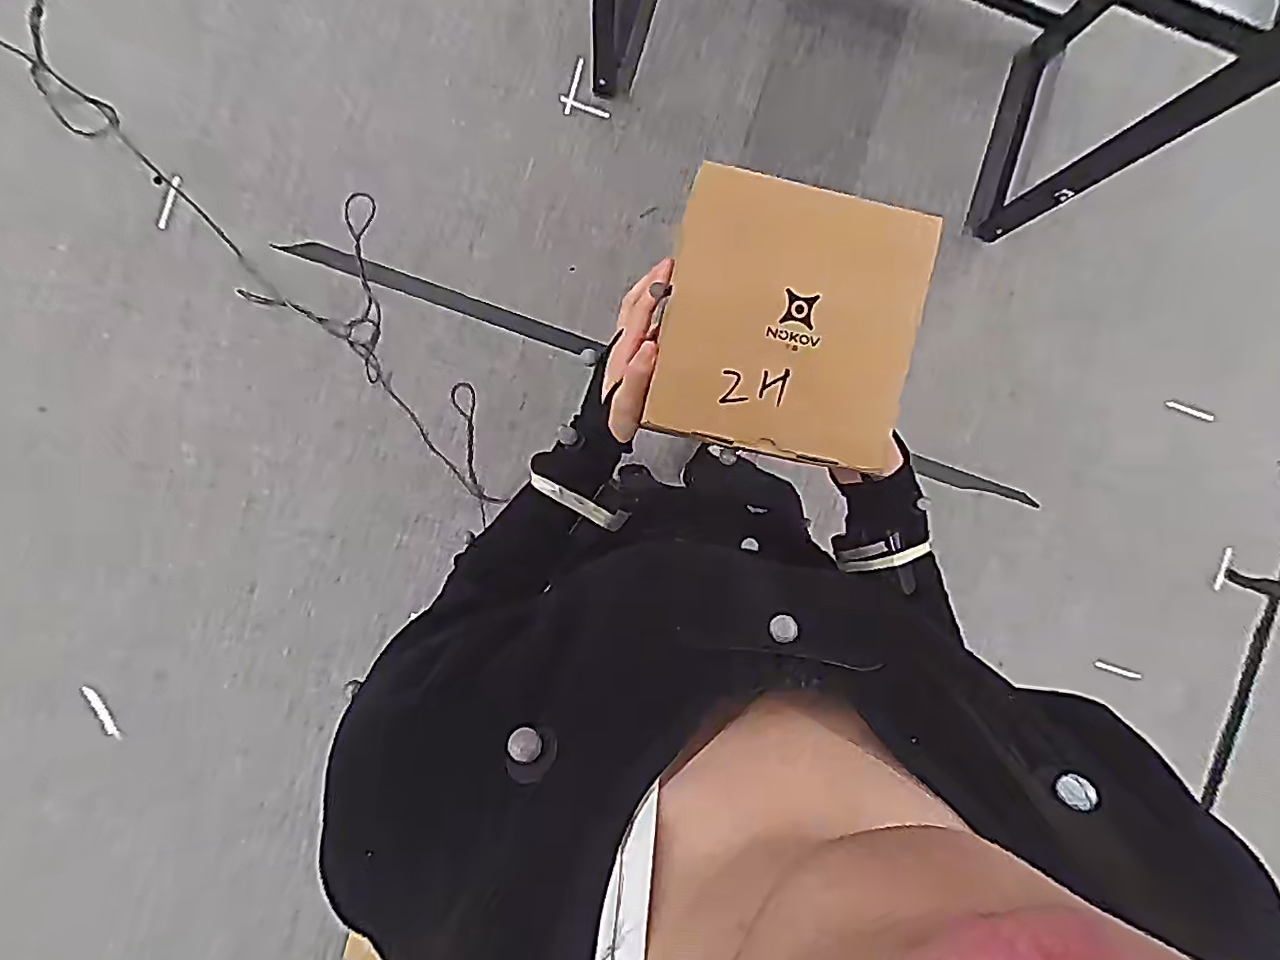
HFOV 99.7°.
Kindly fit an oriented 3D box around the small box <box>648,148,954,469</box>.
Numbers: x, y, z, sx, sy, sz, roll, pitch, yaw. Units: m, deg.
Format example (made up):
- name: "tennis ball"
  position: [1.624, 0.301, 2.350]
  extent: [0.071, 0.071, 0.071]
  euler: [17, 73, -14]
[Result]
- name: "small box"
  position: [0.104, -0.116, 0.430]
  extent: [0.168, 0.176, 0.179]
  euler: [12, 95, -3]
